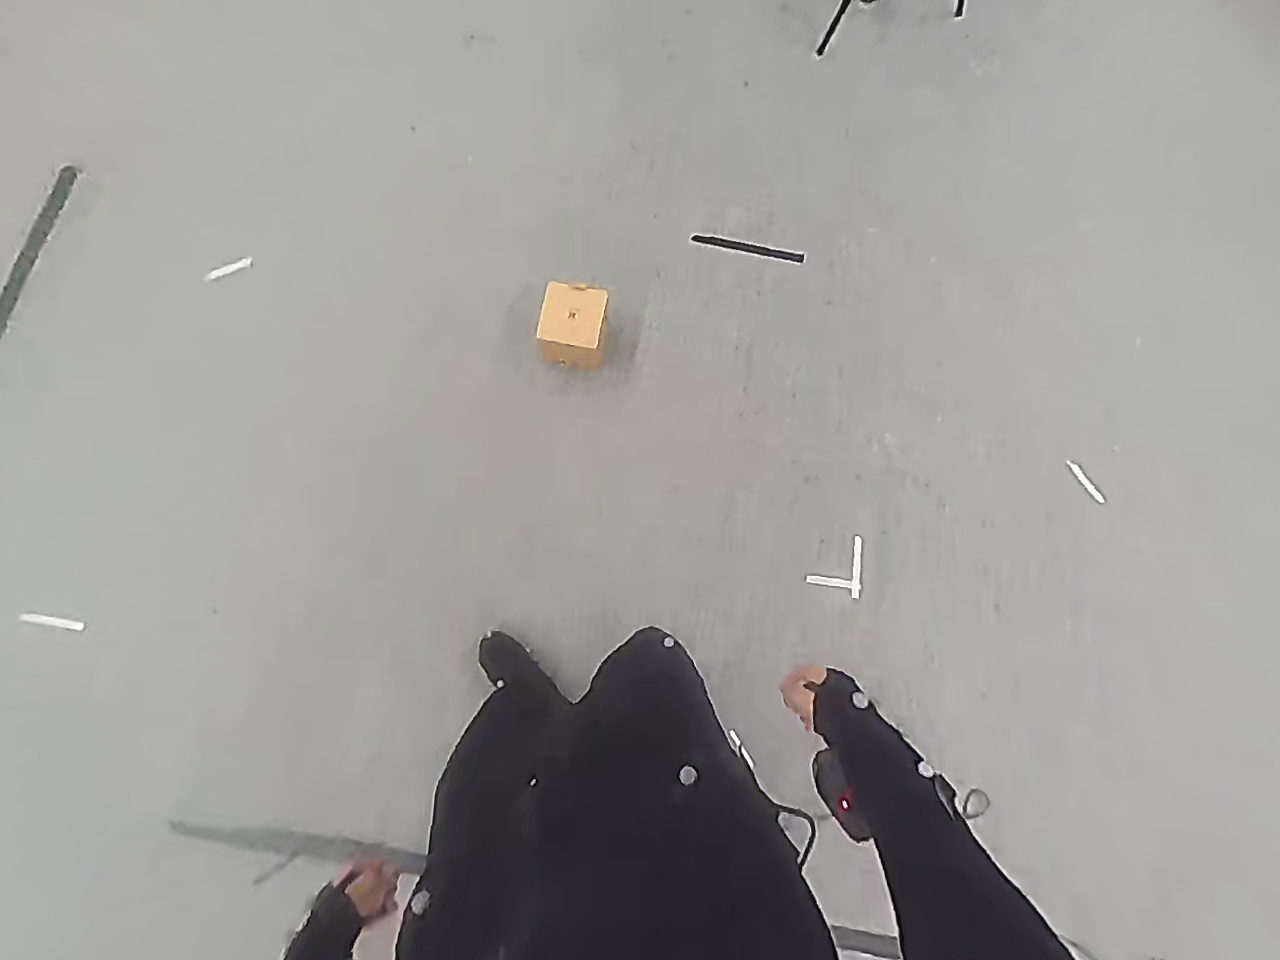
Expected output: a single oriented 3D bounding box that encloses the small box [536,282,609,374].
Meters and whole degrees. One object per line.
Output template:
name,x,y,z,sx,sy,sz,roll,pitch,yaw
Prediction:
small box,-0.185,-0.422,1.521,0.168,0.176,0.179,11,77,-1
